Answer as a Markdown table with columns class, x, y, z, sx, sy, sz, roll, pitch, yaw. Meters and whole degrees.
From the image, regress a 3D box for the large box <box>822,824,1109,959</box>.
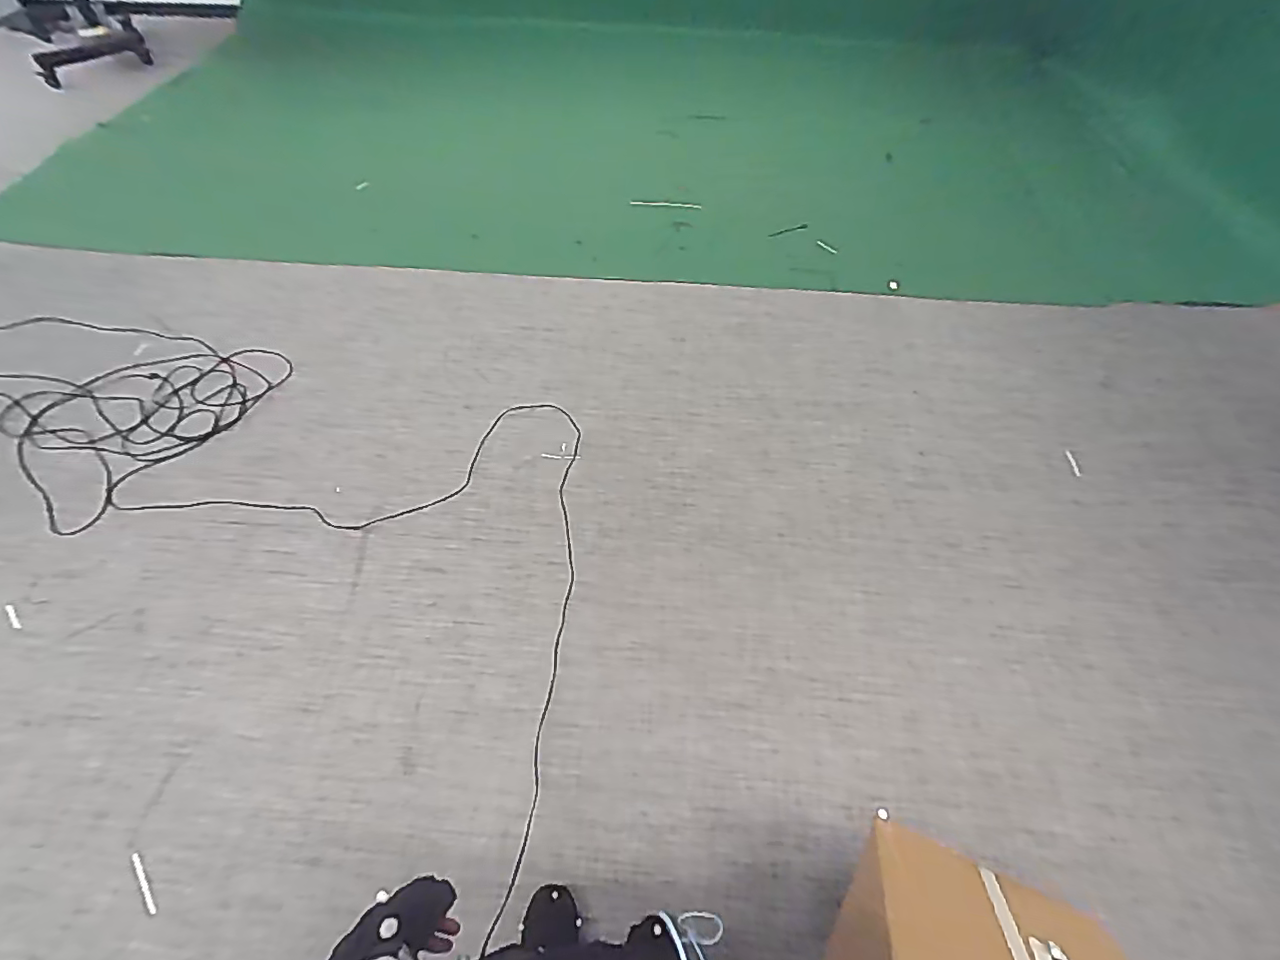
| class | x | y | z | sx | sy | sz | roll | pitch | yaw |
| --- | --- | --- | --- | --- | --- | --- | --- | --- | --- |
| large box | 0.391 | 0.726 | 0.628 | 0.320 | 0.408 | 0.320 | 21 | 96 | 18 |
